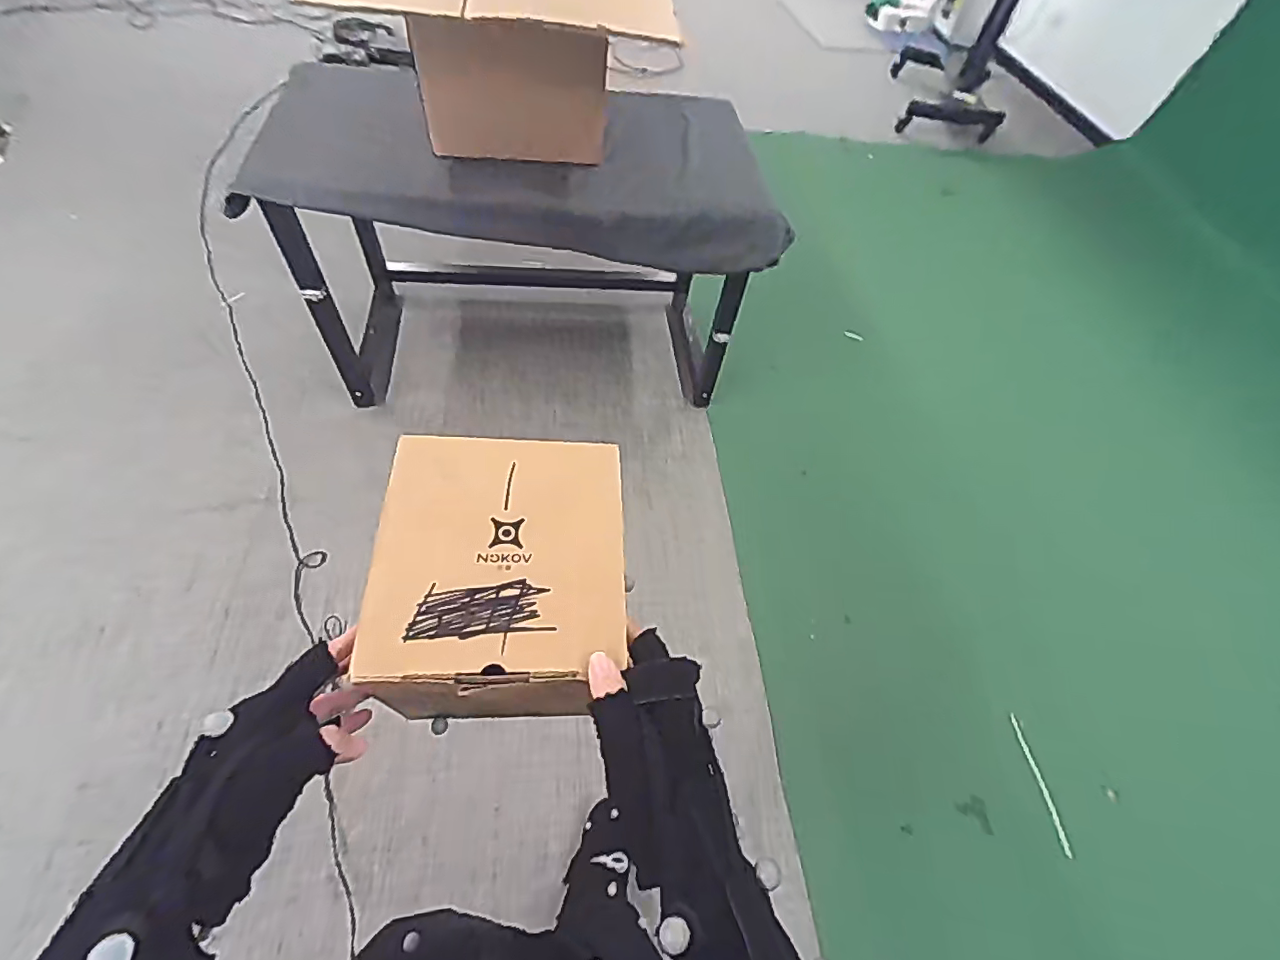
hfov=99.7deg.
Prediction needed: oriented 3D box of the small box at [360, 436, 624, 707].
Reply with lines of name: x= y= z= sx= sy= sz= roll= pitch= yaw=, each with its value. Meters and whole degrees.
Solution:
small box: x=-0.103 y=0.084 z=0.445 sx=0.168 sy=0.176 sz=0.179 roll=2 pitch=58 yaw=-8
